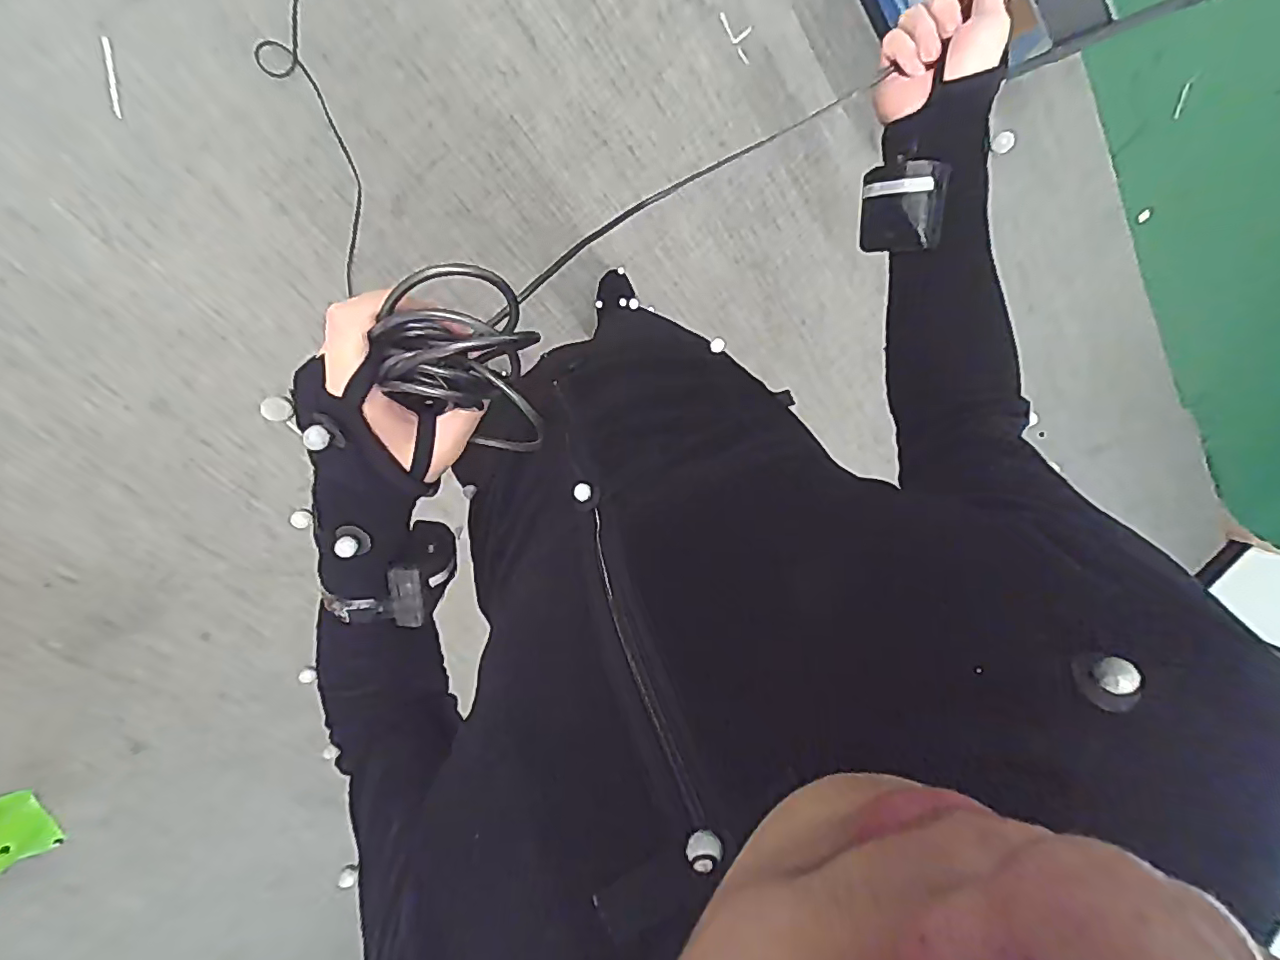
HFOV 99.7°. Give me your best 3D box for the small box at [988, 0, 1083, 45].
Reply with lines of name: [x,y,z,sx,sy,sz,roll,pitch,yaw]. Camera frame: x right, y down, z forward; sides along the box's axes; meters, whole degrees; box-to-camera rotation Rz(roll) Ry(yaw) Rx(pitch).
small box: [1.009,-1.246,1.340,0.179,0.176,0.168,-43,113,0]
